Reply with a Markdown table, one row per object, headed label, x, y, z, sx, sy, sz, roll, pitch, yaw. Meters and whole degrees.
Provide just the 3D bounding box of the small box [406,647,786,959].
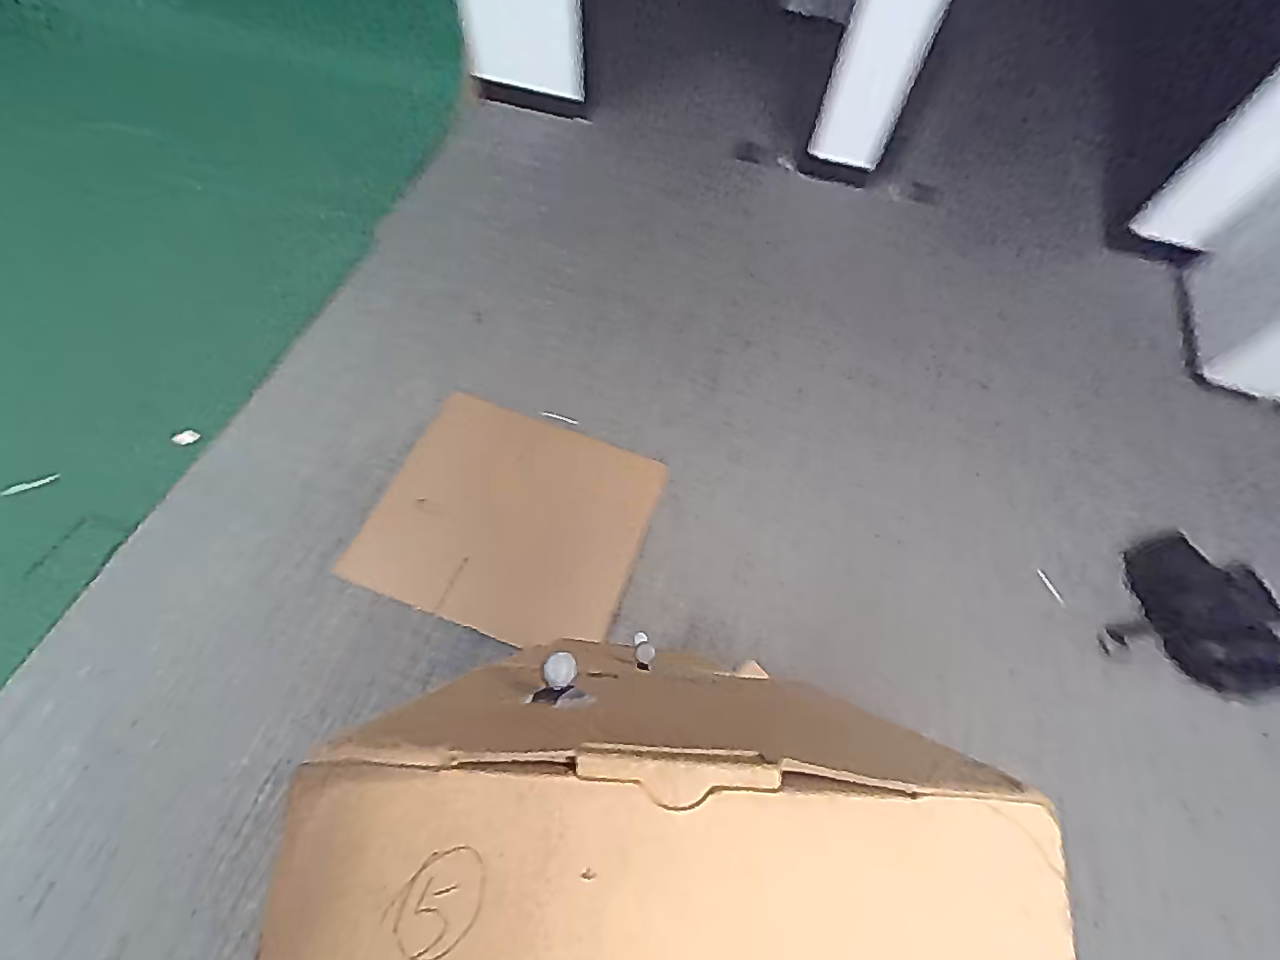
| label | x | y | z | sx | sy | sz | roll | pitch | yaw |
| --- | --- | --- | --- | --- | --- | --- | --- | --- | --- |
| small box | -0.019 | 0.199 | 0.341 | 0.179 | 0.176 | 0.168 | 5 | 75 | -1 |
